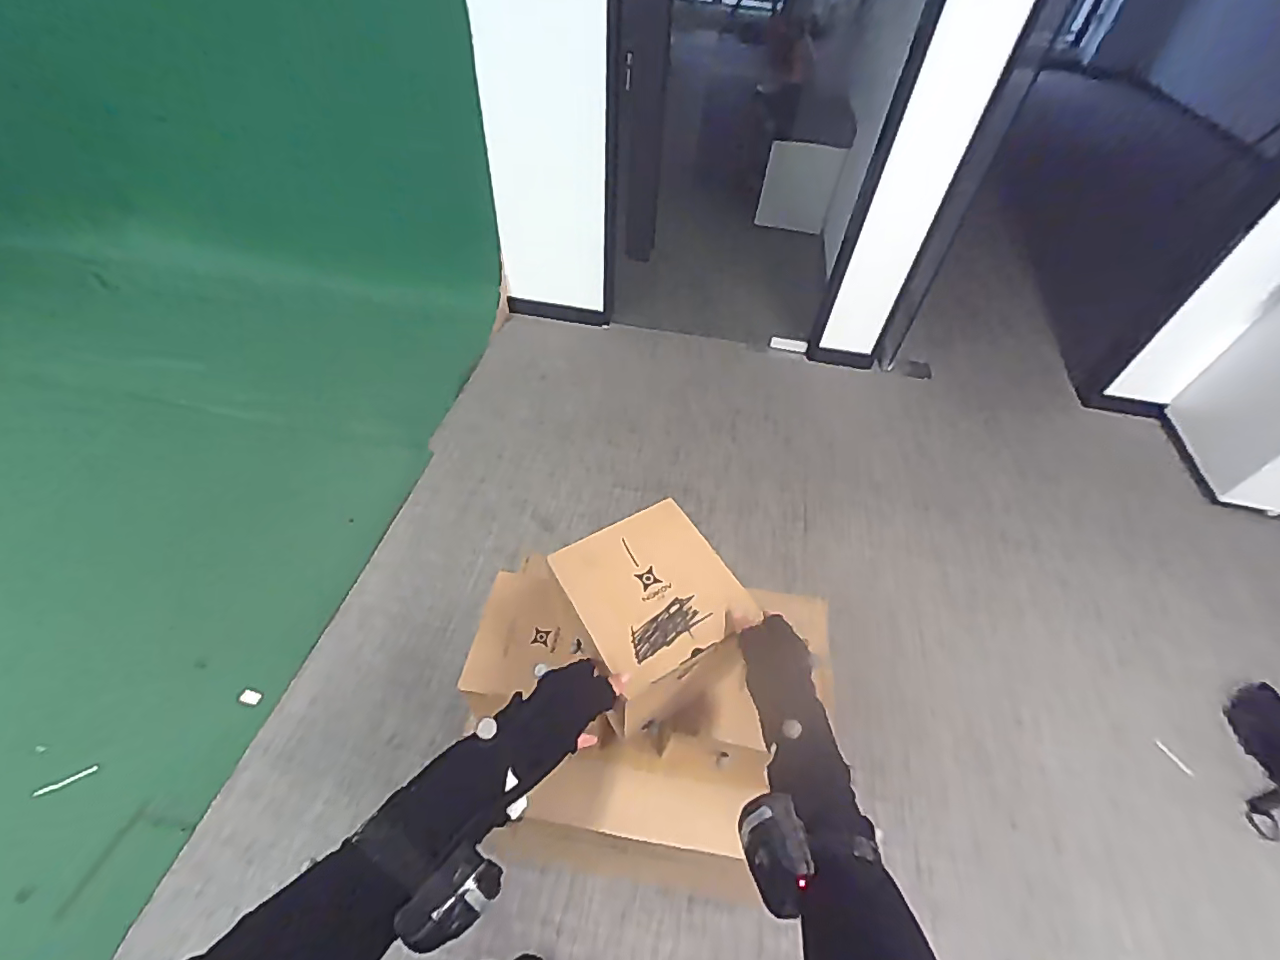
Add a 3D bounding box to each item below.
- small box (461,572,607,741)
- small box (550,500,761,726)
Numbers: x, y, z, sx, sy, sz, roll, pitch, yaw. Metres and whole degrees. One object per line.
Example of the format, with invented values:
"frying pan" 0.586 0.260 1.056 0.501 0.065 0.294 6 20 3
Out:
"small box" -0.124 0.253 0.760 0.179 0.176 0.168 8 50 3
"small box" 0.011 0.162 0.633 0.168 0.176 0.179 -24 56 -21
